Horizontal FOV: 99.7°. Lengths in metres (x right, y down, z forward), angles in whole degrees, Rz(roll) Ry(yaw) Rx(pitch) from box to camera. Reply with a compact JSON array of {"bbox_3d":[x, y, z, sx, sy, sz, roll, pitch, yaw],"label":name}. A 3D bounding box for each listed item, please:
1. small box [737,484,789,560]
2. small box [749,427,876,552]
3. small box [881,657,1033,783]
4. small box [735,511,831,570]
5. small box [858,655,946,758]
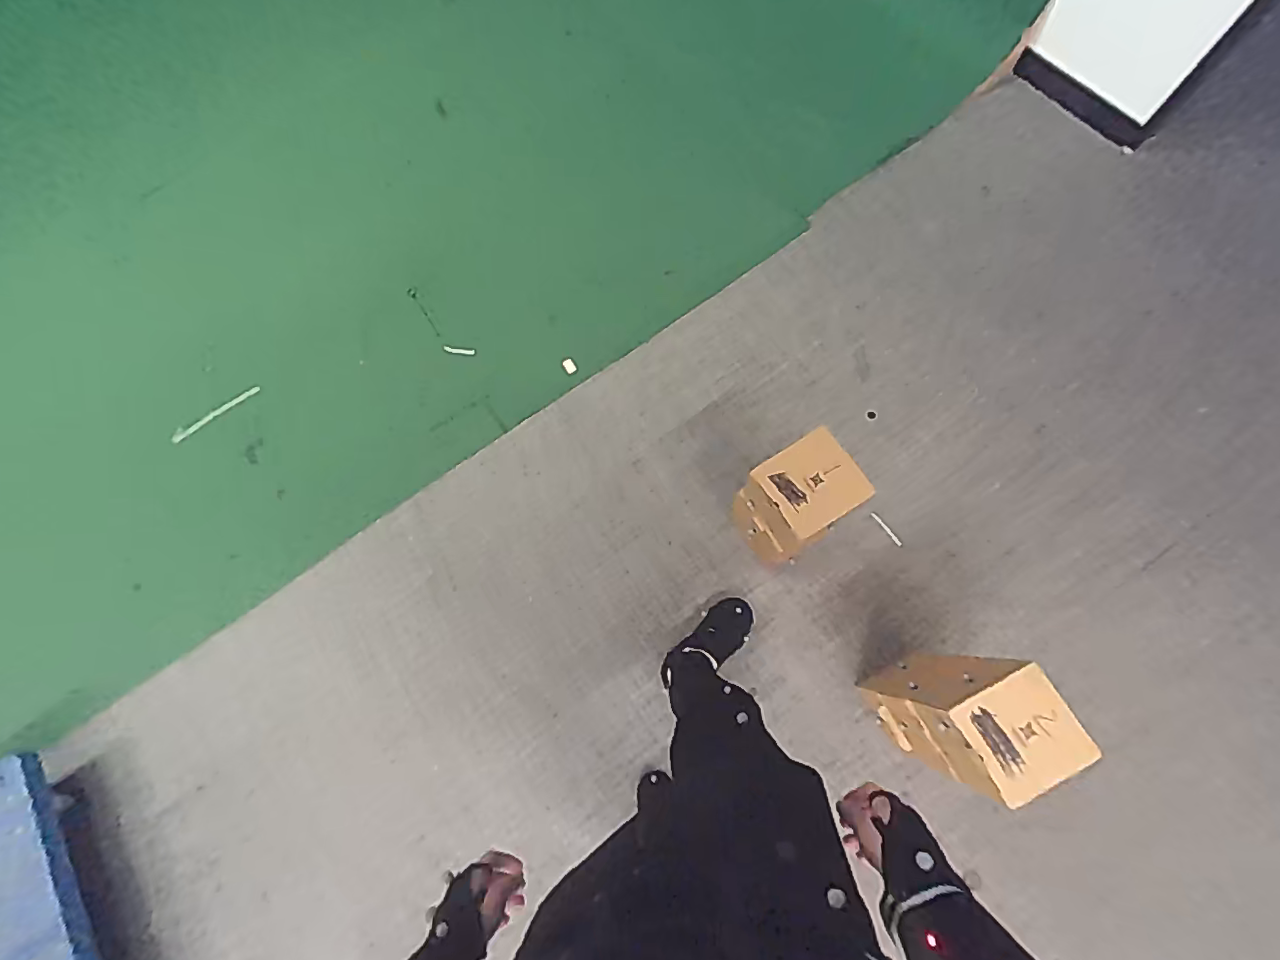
[{"bbox_3d":[0.340,0.070,1.256,0.179,0.176,0.168,-31,73,-2],"label":"small box"},{"bbox_3d":[0.335,0.028,1.096,0.179,0.176,0.168,-32,73,-4],"label":"small box"},{"bbox_3d":[0.633,0.478,1.108,0.179,0.176,0.168,-29,74,-2],"label":"small box"},{"bbox_3d":[0.362,0.117,1.411,0.168,0.176,0.179,-30,73,-3],"label":"small box"},{"bbox_3d":[0.643,0.518,1.263,0.179,0.176,0.168,-24,71,0],"label":"small box"}]
